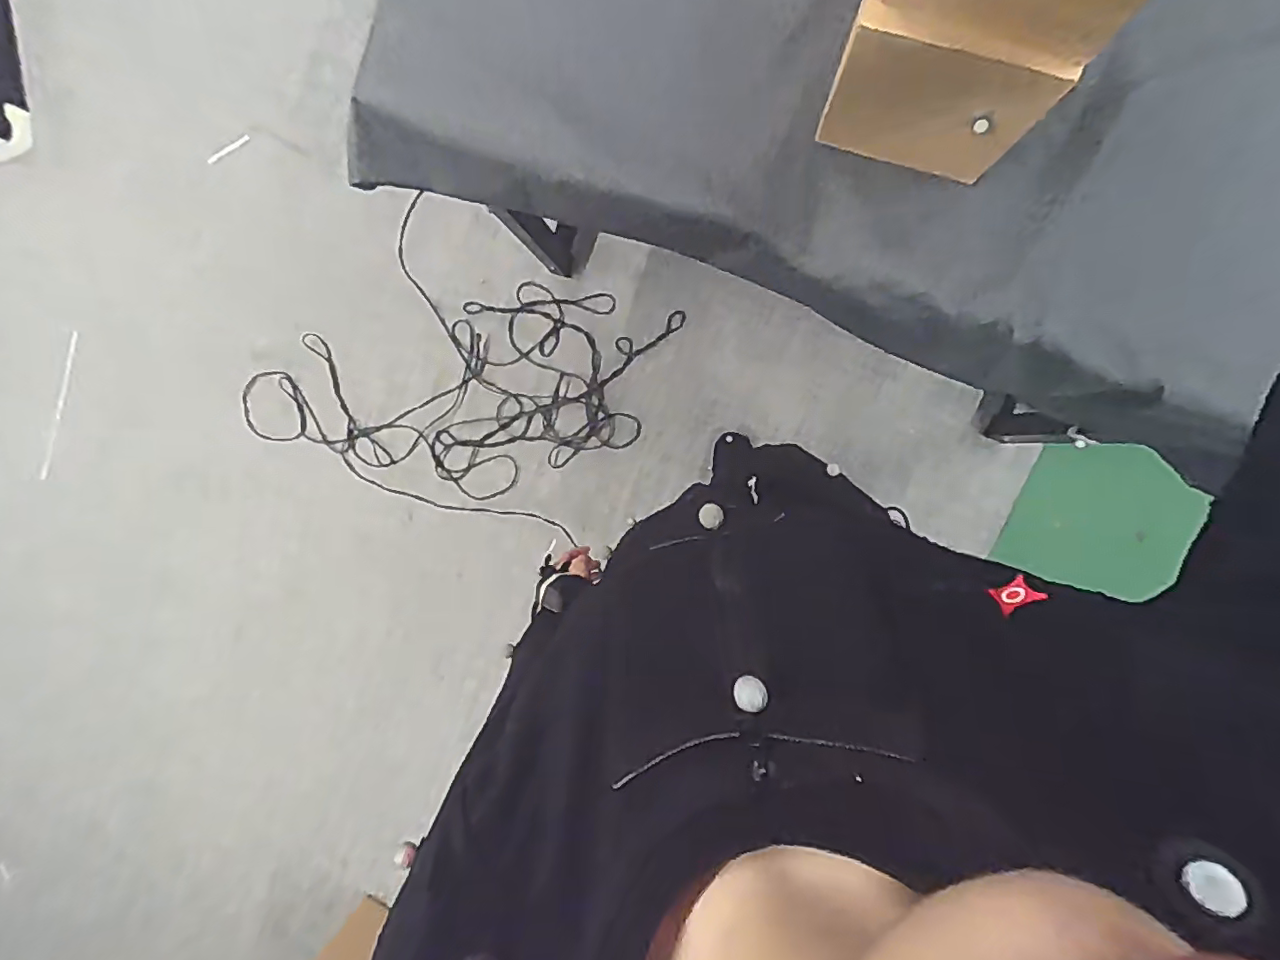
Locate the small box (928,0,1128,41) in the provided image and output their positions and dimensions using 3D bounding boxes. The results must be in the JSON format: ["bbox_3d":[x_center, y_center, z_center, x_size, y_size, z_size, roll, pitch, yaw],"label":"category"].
[{"bbox_3d":[0.279,-0.422,0.327,0.179,0.176,0.168,22,96,4],"label":"small box"}]

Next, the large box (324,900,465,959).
[{"bbox_3d":[-0.701,1.456,1.435,0.408,0.320,0.320,29,97,6],"label":"large box"}]
